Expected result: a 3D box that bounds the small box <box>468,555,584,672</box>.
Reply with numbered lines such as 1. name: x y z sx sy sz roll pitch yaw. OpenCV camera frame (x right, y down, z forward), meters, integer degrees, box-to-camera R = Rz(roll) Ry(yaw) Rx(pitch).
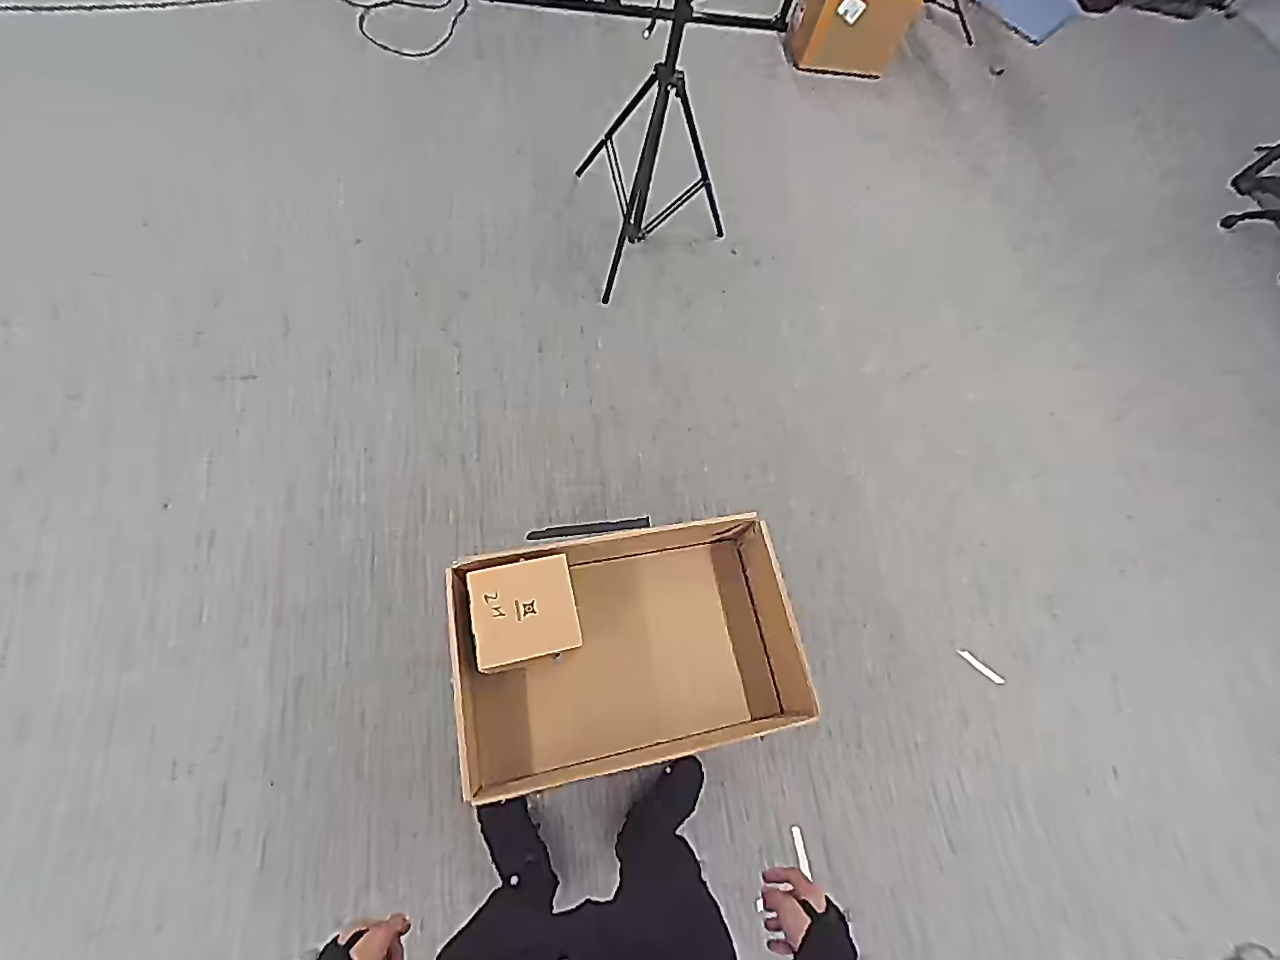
1. small box: -0.208 0.249 0.994 0.179 0.176 0.168 -9 70 -13
